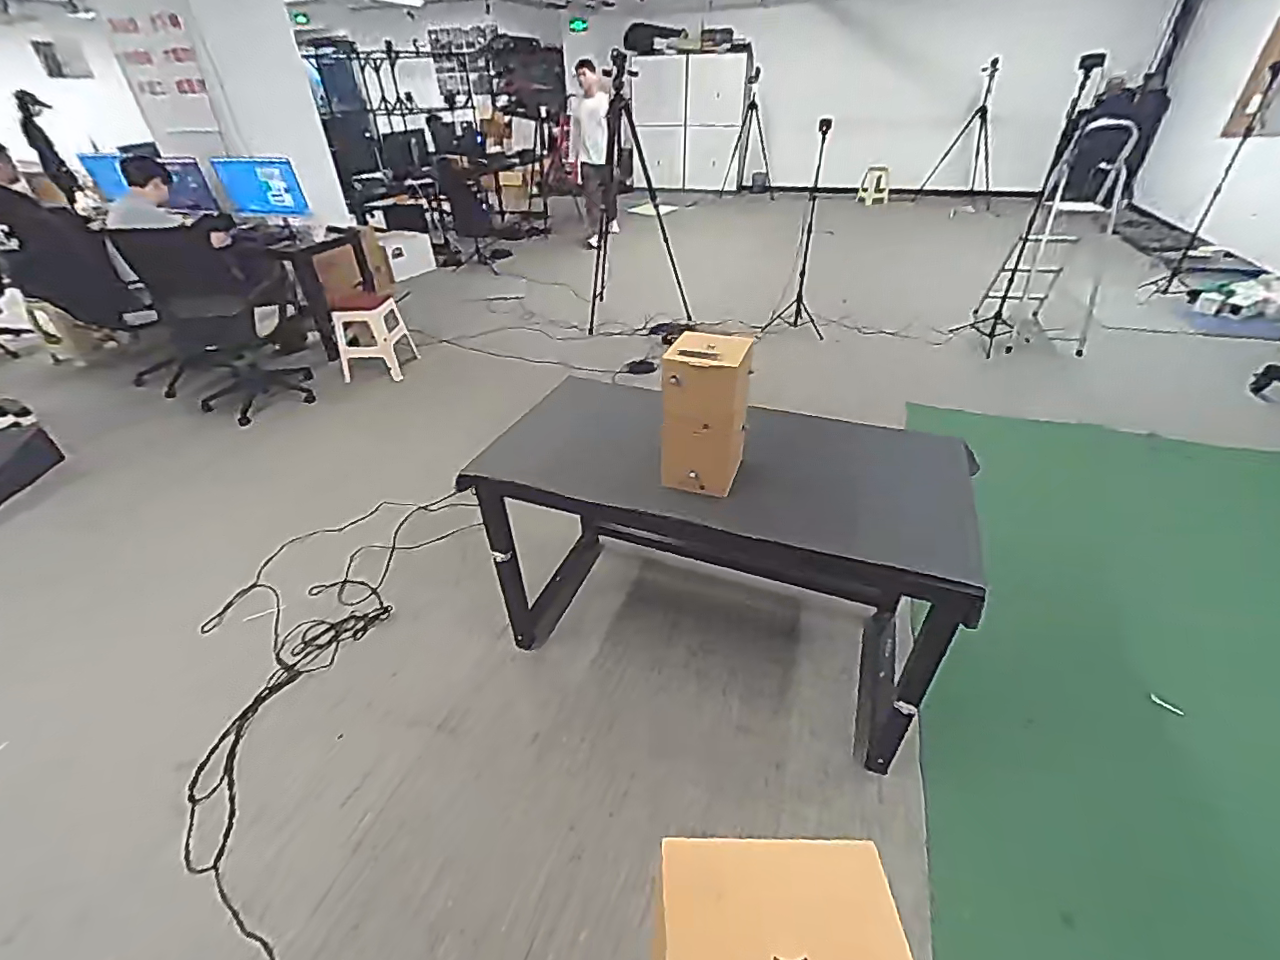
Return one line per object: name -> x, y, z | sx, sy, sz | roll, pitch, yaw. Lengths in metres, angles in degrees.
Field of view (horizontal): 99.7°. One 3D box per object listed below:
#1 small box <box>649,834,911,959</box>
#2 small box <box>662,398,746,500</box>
small box -> 0.093, 0.390, 0.386 | 0.168, 0.176, 0.179 | 2, 32, -2
small box -> 0.154, -0.078, 1.324 | 0.168, 0.176, 0.179 | 11, 37, 17
